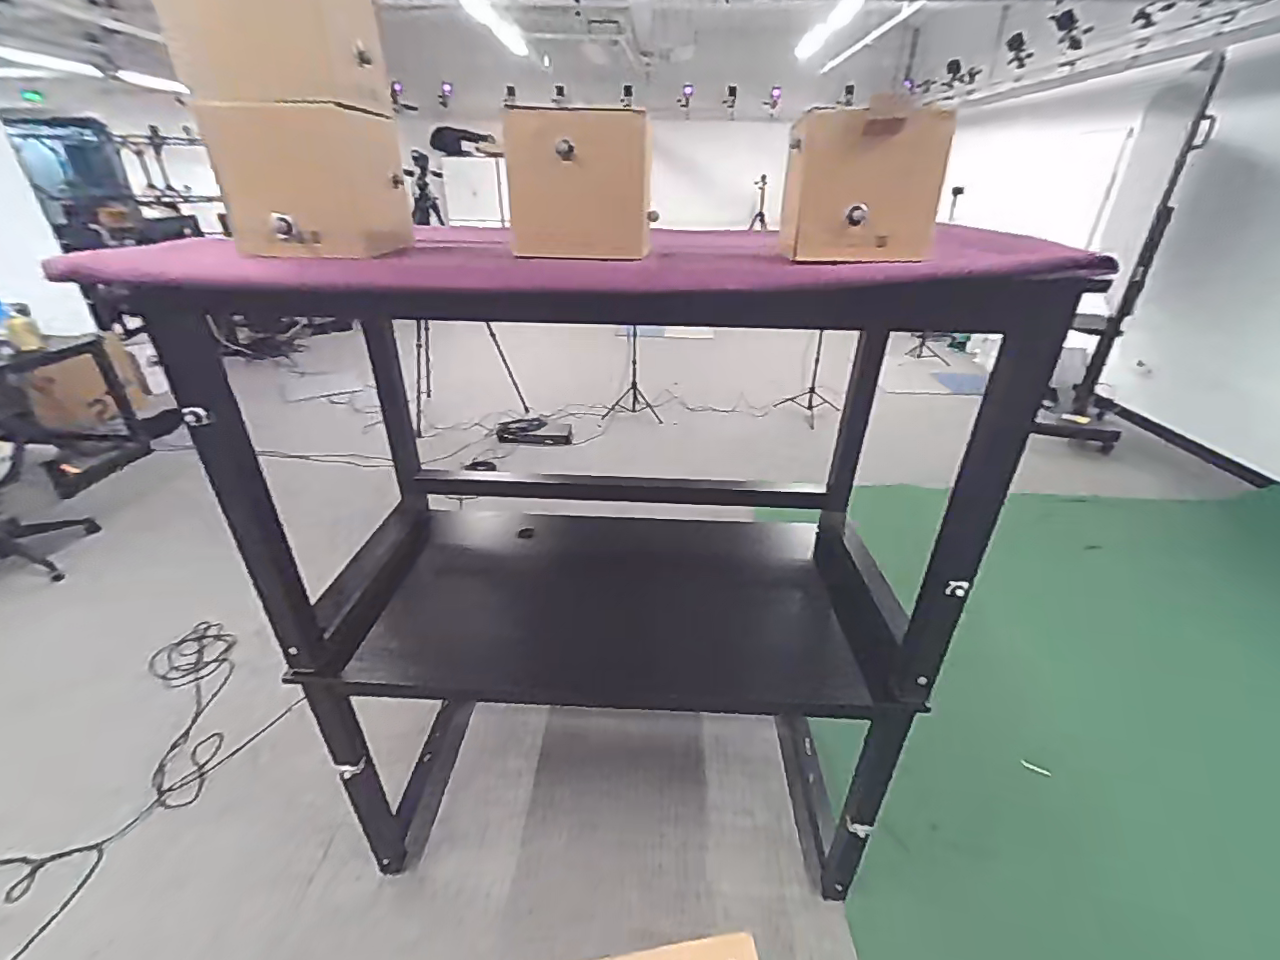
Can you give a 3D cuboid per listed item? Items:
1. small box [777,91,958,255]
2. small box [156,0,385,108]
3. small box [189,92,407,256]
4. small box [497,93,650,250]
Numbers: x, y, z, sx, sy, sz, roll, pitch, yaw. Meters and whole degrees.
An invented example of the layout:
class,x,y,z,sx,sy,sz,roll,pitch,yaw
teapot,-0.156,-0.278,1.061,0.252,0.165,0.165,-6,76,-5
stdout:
class,x,y,z,sx,sy,sz,roll,pitch,yaw
small box,0.281,-0.396,0.715,0.168,0.176,0.179,2,27,5
small box,-0.434,-0.546,0.639,0.179,0.176,0.168,-1,30,-1
small box,-0.429,-0.401,0.718,0.168,0.176,0.179,-1,30,-1
small box,-0.079,-0.409,0.736,0.179,0.176,0.168,3,28,3
